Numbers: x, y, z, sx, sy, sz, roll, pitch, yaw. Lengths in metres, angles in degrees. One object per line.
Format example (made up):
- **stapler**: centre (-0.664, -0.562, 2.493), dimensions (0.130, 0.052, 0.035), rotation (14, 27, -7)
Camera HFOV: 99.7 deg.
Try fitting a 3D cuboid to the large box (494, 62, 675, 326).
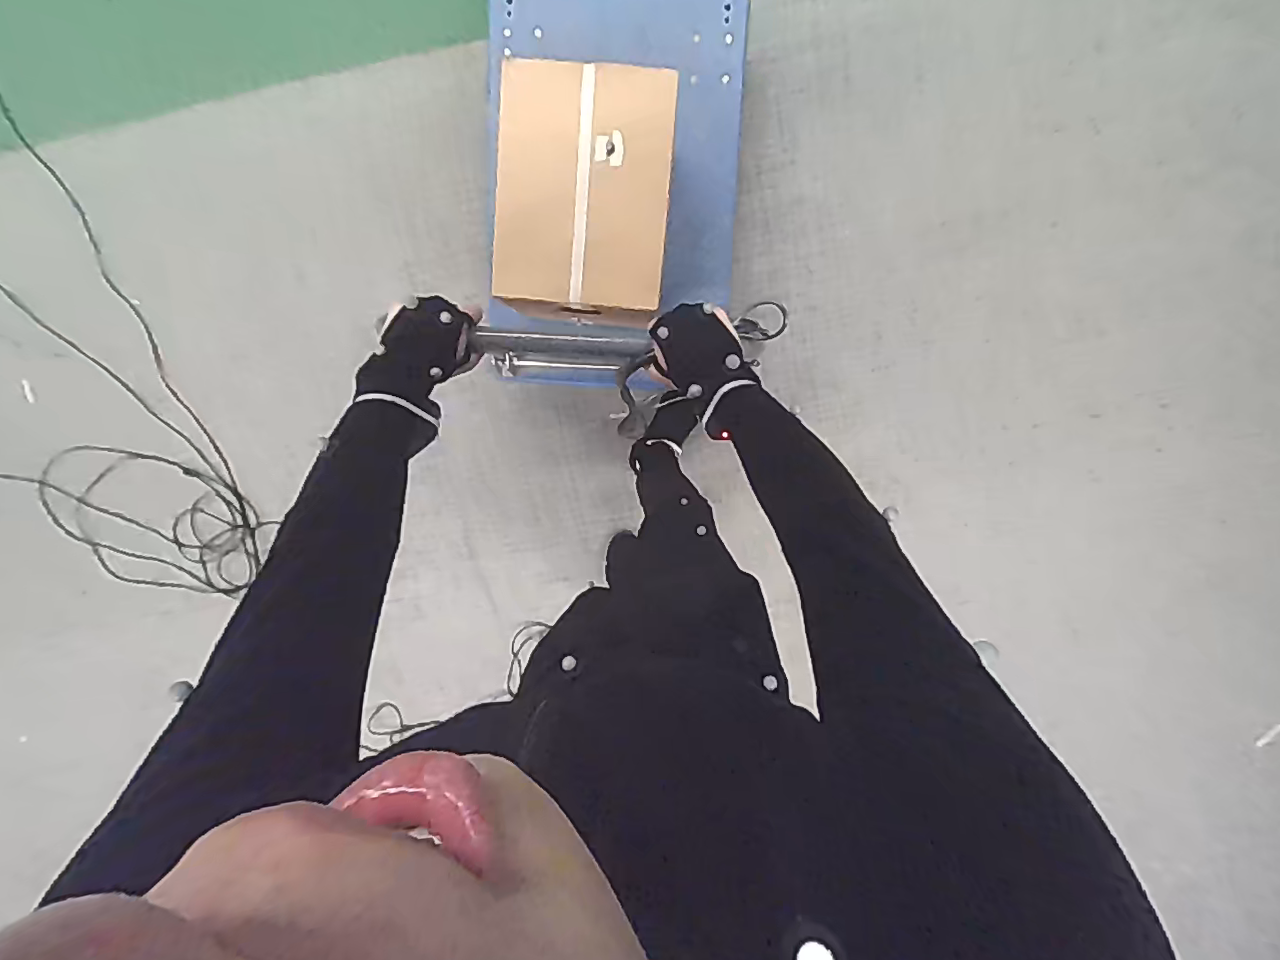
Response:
- **large box**: centre (-0.100, -0.550, 1.125), dimensions (0.320, 0.320, 0.408), rotation (5, 99, 0)
